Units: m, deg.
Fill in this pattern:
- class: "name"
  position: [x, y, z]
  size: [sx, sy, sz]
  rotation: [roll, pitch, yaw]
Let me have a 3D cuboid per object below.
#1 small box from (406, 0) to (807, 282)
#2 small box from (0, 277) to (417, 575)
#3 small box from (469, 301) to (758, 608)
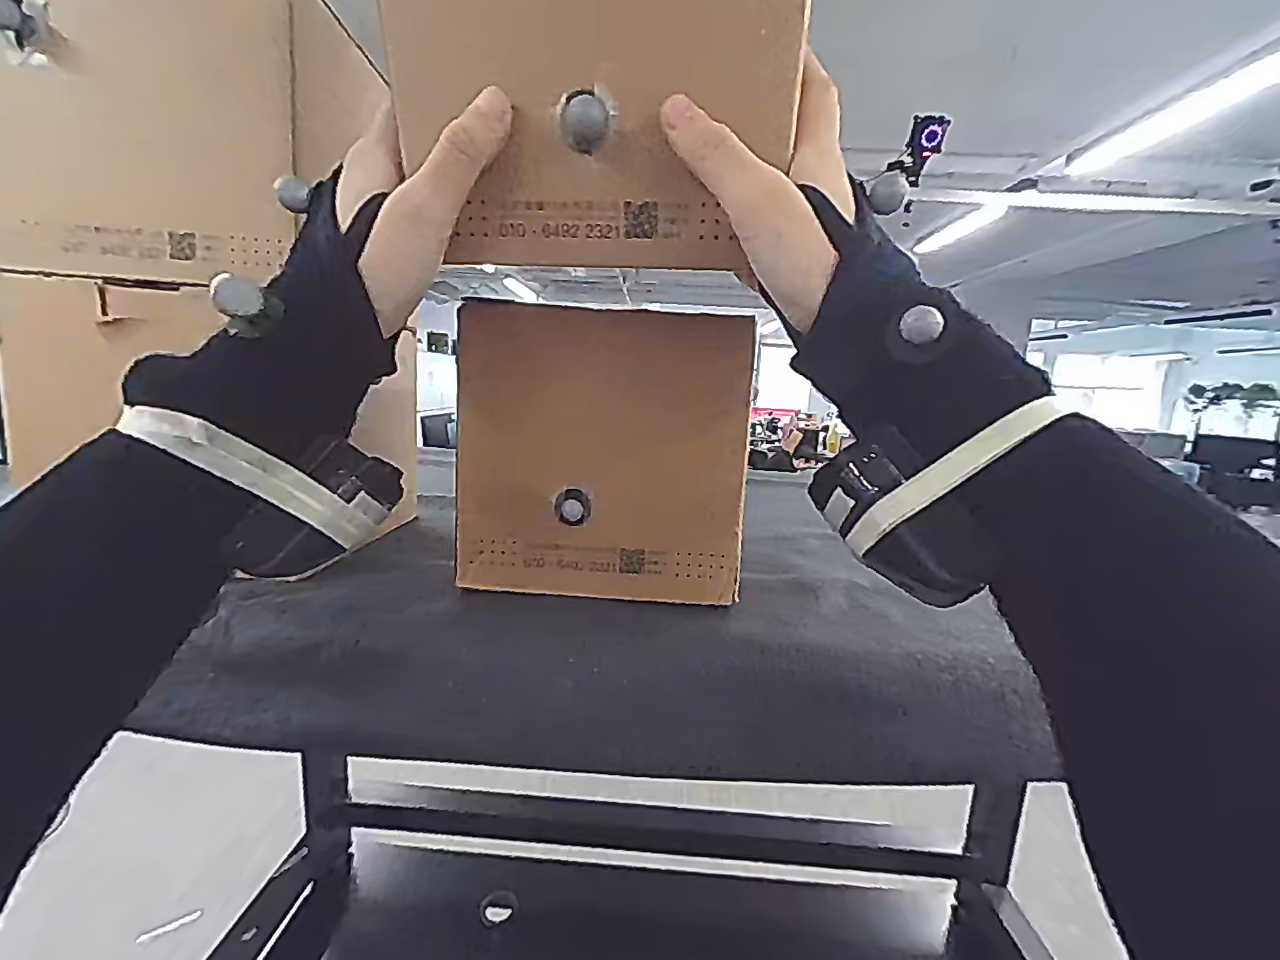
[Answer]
- class: "small box"
  position: [-0.012, -0.204, 0.289]
  size: [0.168, 0.176, 0.179]
  rotation: [2, 25, 4]
- class: "small box"
  position: [-0.274, -0.037, 0.390]
  size: [0.168, 0.176, 0.179]
  rotation: [4, 8, -1]
- class: "small box"
  position: [-0.018, -0.022, 0.389]
  size: [0.168, 0.176, 0.179]
  rotation: [3, 9, 1]
